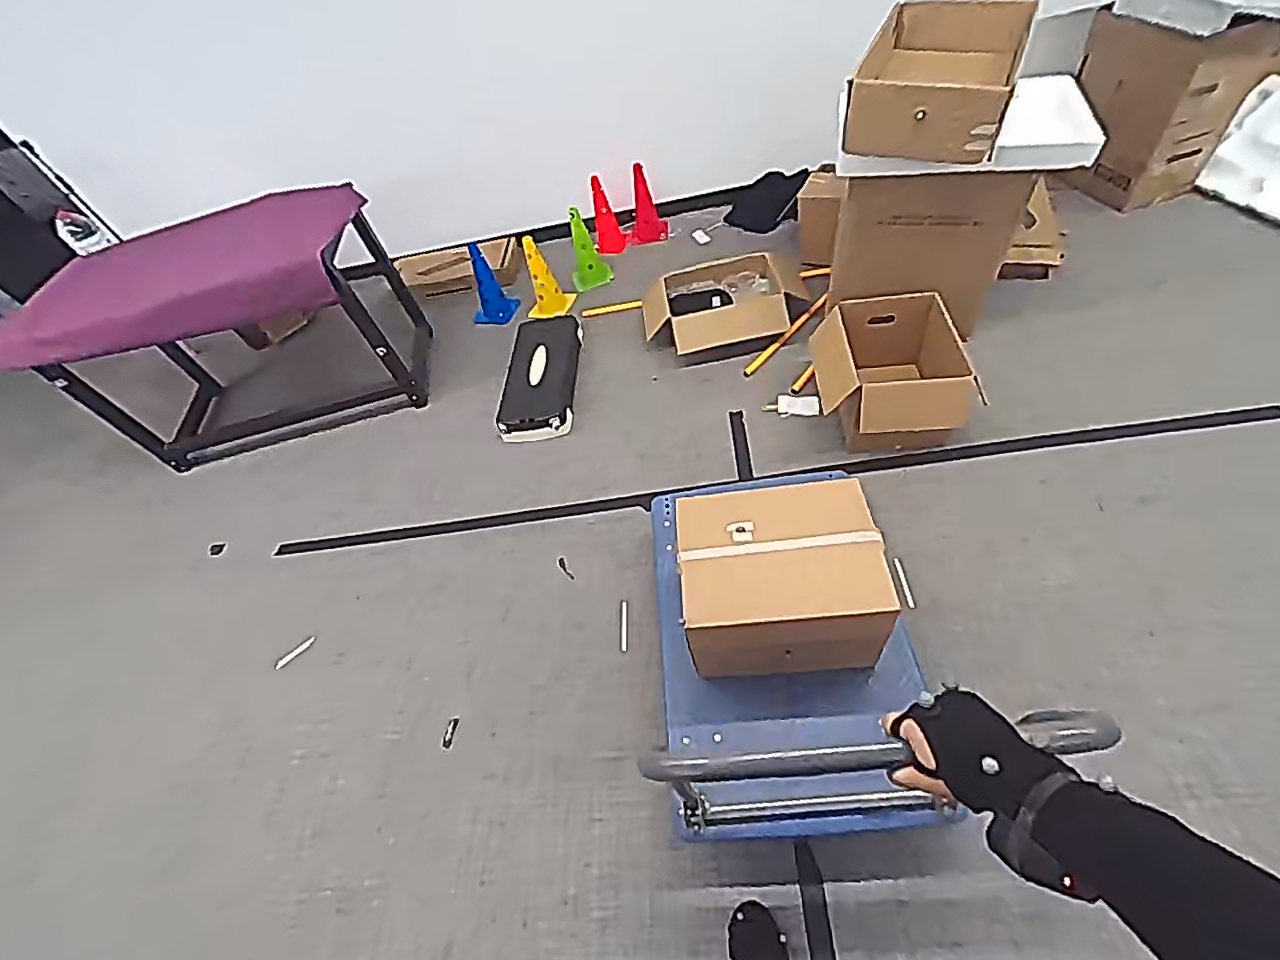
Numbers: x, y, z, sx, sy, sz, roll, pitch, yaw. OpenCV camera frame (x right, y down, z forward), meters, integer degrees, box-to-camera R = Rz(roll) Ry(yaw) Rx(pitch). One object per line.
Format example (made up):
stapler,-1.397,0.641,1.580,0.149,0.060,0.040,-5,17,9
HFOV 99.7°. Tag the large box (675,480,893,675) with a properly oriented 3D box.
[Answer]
large box,0.310,0.236,1.247,0.408,0.320,0.320,-8,51,8
